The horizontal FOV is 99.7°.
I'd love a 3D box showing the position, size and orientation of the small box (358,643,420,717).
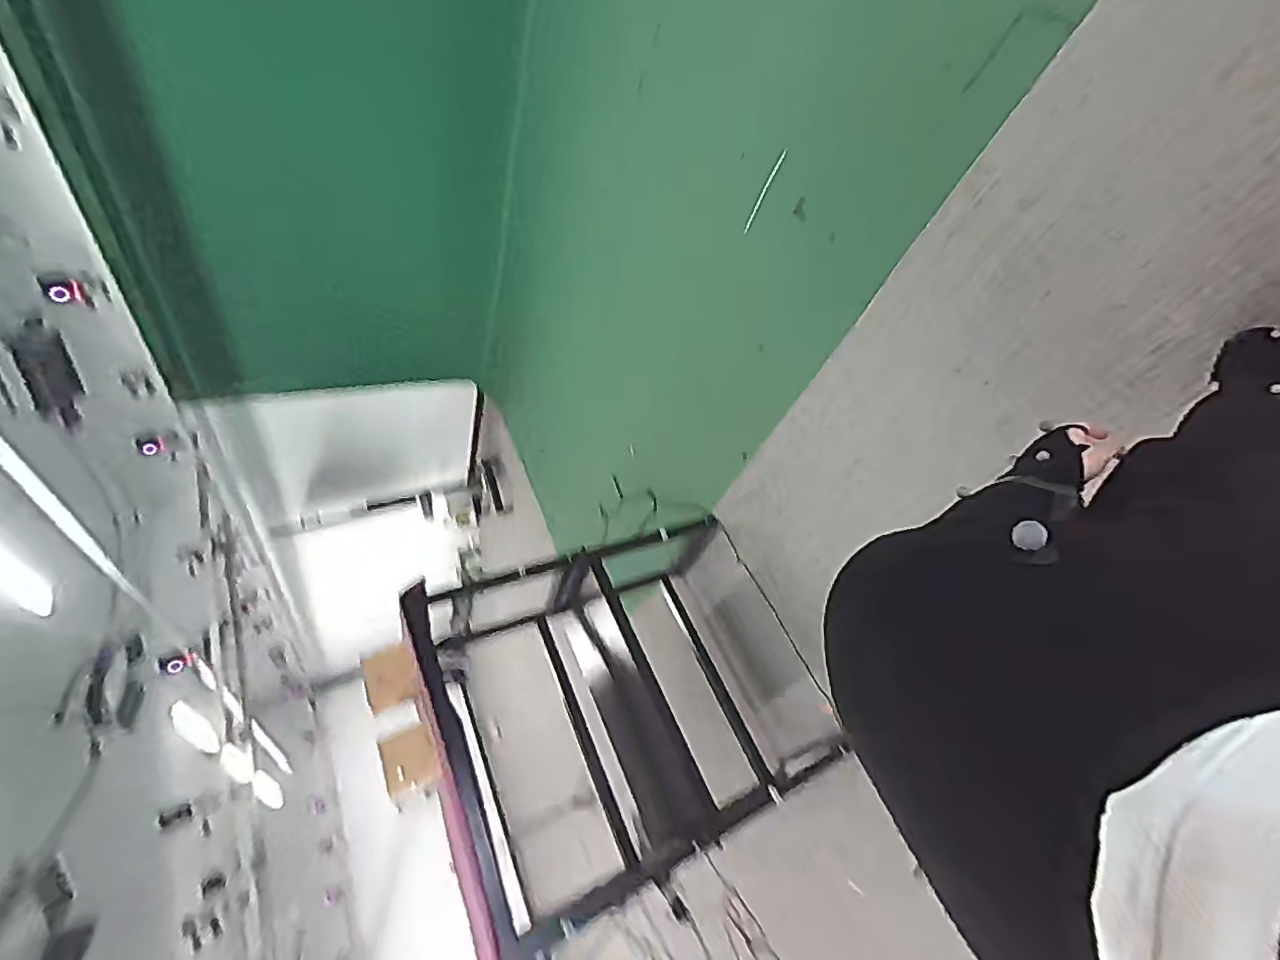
[{"bbox_3d":[-0.887,0.708,1.921,0.179,0.176,0.168,61,147,26],"label":"small box"}]
